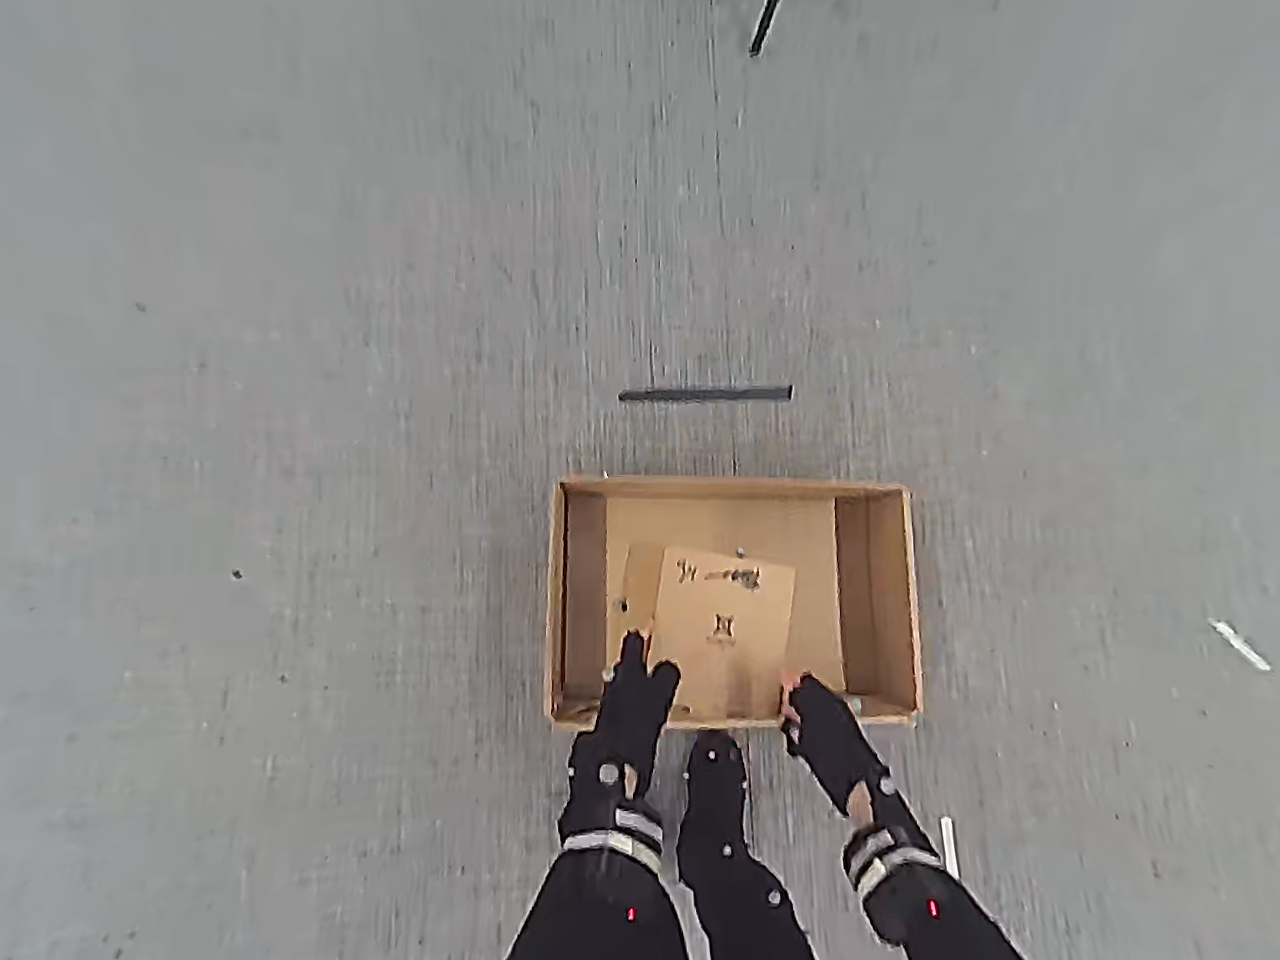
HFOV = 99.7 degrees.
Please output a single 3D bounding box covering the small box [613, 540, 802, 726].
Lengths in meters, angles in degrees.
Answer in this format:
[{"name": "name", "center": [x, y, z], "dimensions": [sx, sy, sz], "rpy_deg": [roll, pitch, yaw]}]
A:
[{"name": "small box", "center": [0.071, 0.175, 0.664], "dimensions": [0.168, 0.176, 0.179], "rpy_deg": [13, 82, -14]}]
